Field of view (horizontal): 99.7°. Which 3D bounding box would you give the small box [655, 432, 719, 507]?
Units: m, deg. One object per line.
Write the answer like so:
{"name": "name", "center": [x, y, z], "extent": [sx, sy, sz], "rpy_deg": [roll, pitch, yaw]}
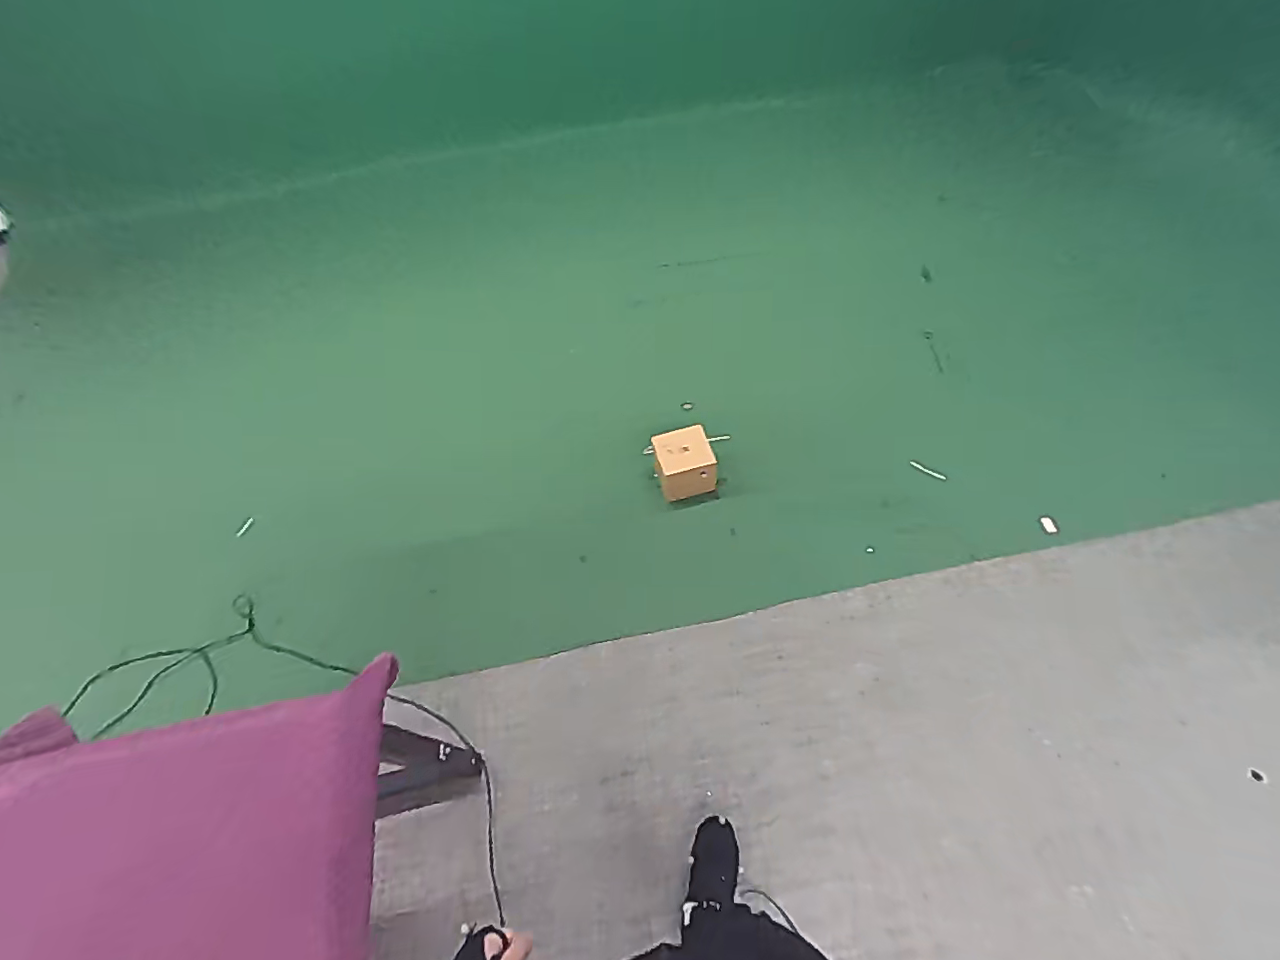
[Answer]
{"name": "small box", "center": [0.156, -0.033, 1.824], "extent": [0.179, 0.176, 0.168], "rpy_deg": [-15, 56, -4]}
